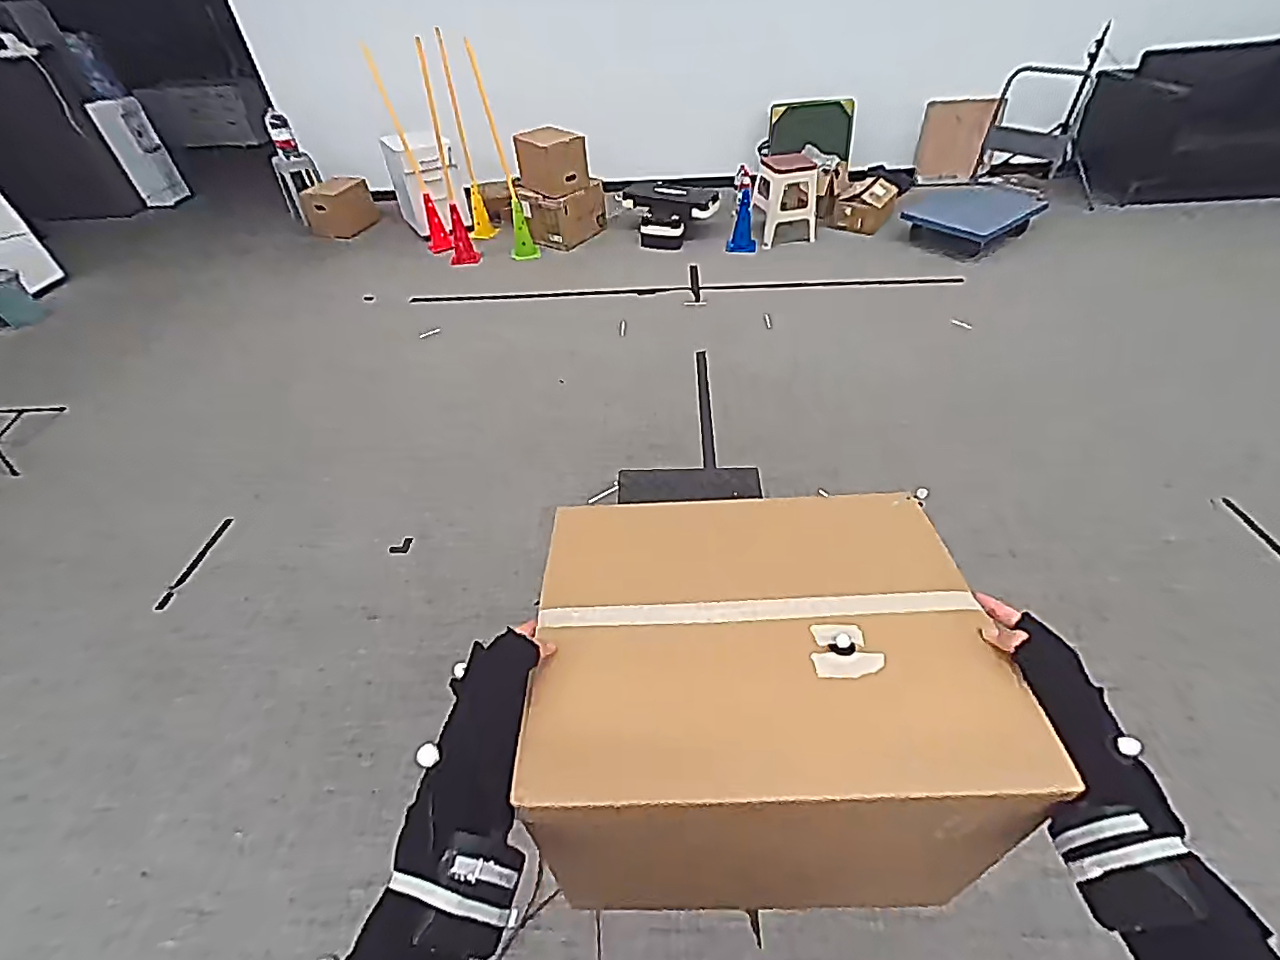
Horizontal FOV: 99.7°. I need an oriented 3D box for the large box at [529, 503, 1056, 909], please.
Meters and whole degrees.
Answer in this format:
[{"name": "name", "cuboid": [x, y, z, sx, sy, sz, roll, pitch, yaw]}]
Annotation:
[{"name": "large box", "cuboid": [0.117, 0.248, 0.610, 0.408, 0.320, 0.320, -3, 40, 2]}]
